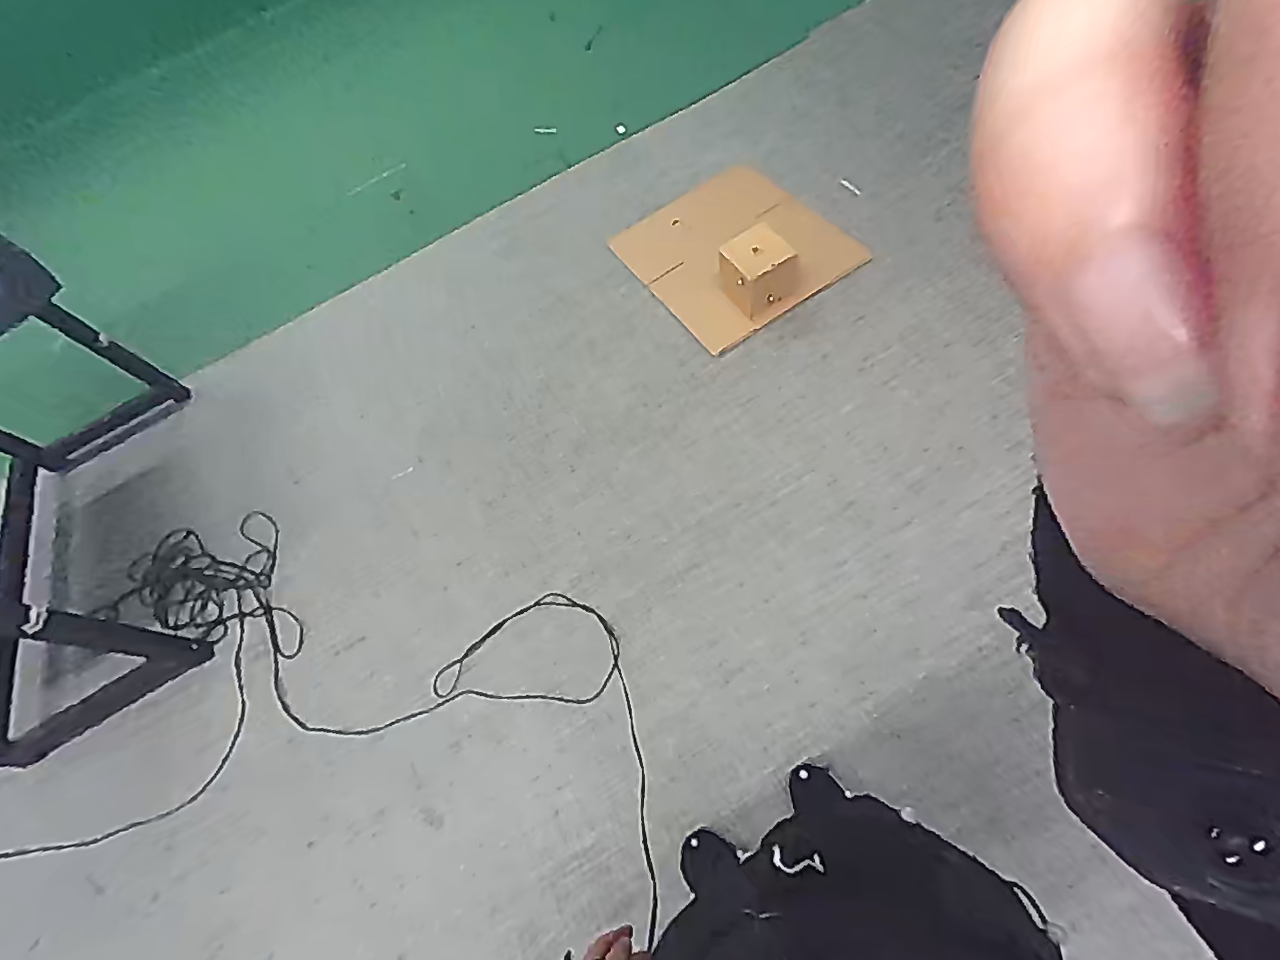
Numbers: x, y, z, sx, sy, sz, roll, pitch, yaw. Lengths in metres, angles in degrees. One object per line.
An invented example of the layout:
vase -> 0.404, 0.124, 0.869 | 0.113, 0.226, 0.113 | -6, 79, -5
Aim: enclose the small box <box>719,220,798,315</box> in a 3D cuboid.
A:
small box -> 0.356, -0.640, 1.643 | 0.168, 0.176, 0.179 | -31, 61, -4
